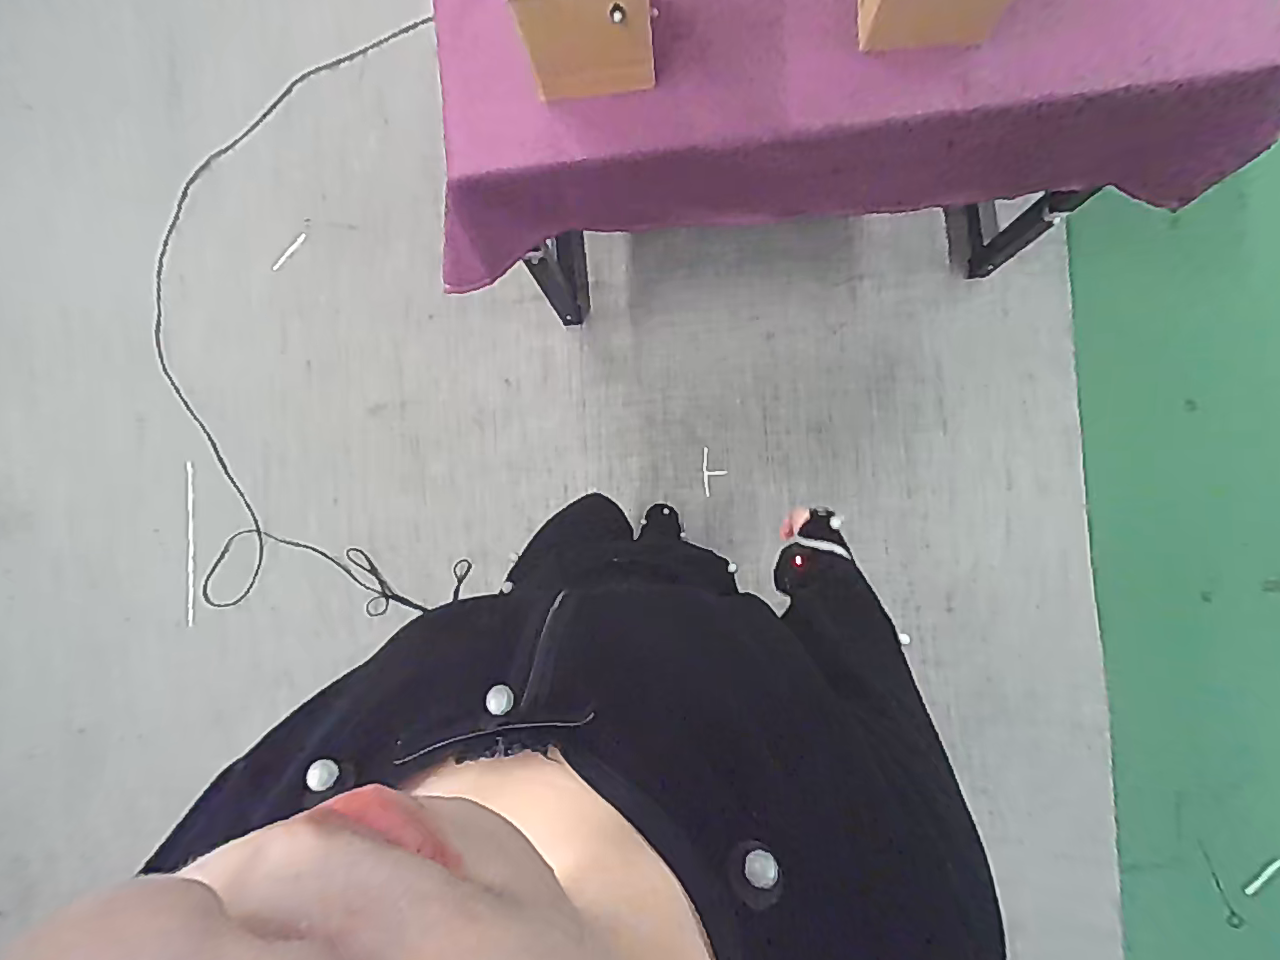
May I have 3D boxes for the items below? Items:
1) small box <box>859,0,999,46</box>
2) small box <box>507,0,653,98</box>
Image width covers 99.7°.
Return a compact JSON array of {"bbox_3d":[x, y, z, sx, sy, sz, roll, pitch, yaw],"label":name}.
[{"bbox_3d":[0.397,-0.716,0.710,0.179,0.176,0.168,0,87,5],"label":"small box"},{"bbox_3d":[-0.077,-0.671,0.750,0.179,0.176,0.168,-4,86,4],"label":"small box"}]
